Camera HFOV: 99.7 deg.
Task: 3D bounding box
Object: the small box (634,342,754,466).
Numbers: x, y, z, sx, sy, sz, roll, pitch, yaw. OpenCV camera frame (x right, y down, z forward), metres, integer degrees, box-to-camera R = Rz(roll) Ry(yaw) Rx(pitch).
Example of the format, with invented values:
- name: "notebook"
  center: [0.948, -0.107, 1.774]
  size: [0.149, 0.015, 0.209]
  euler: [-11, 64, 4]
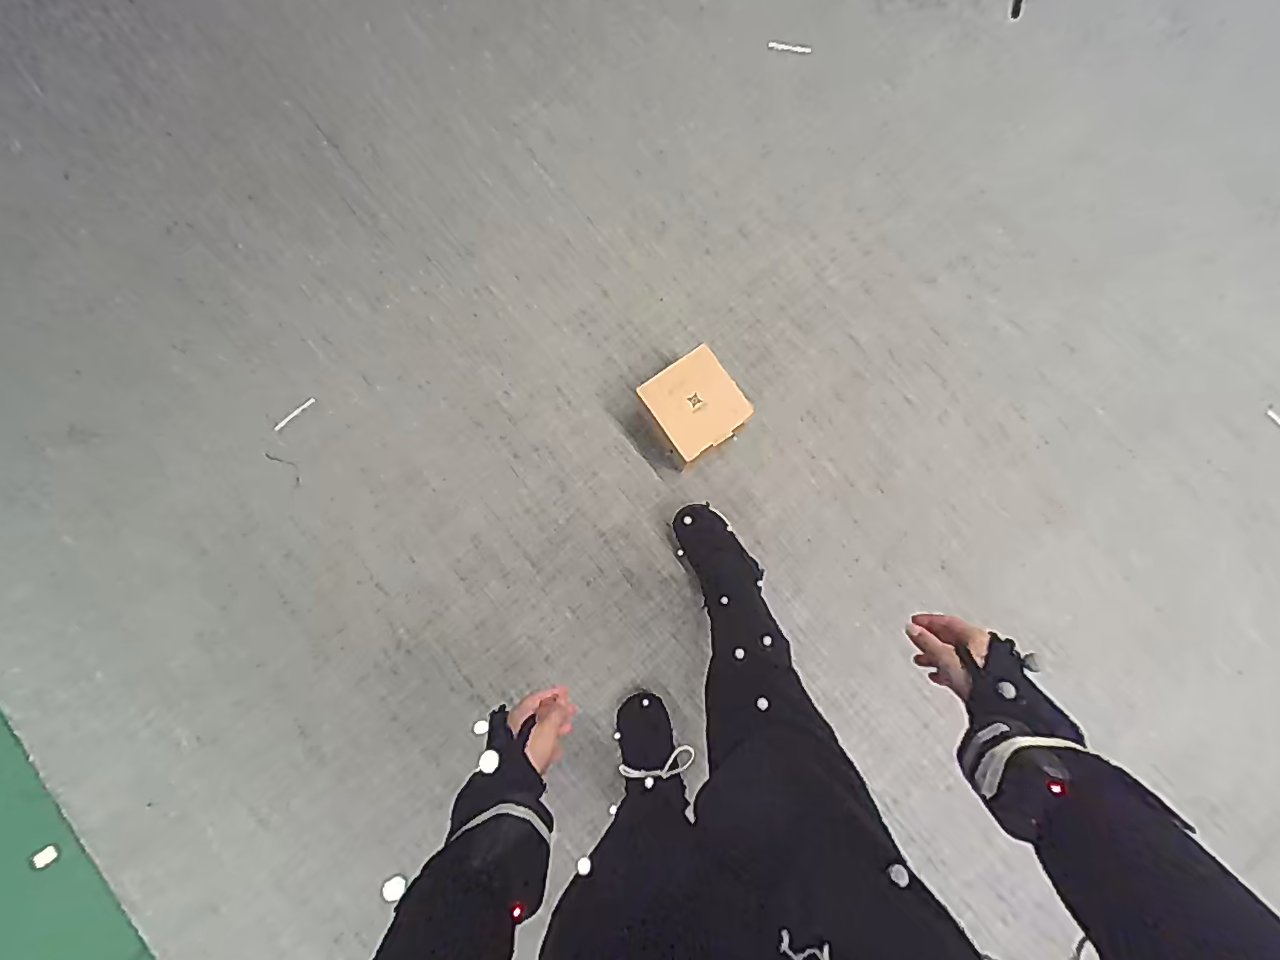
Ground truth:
- name: "small box"
  center: [0.103, -0.143, 1.103]
  size: [0.168, 0.176, 0.179]
  euler: [-35, 84, -4]
